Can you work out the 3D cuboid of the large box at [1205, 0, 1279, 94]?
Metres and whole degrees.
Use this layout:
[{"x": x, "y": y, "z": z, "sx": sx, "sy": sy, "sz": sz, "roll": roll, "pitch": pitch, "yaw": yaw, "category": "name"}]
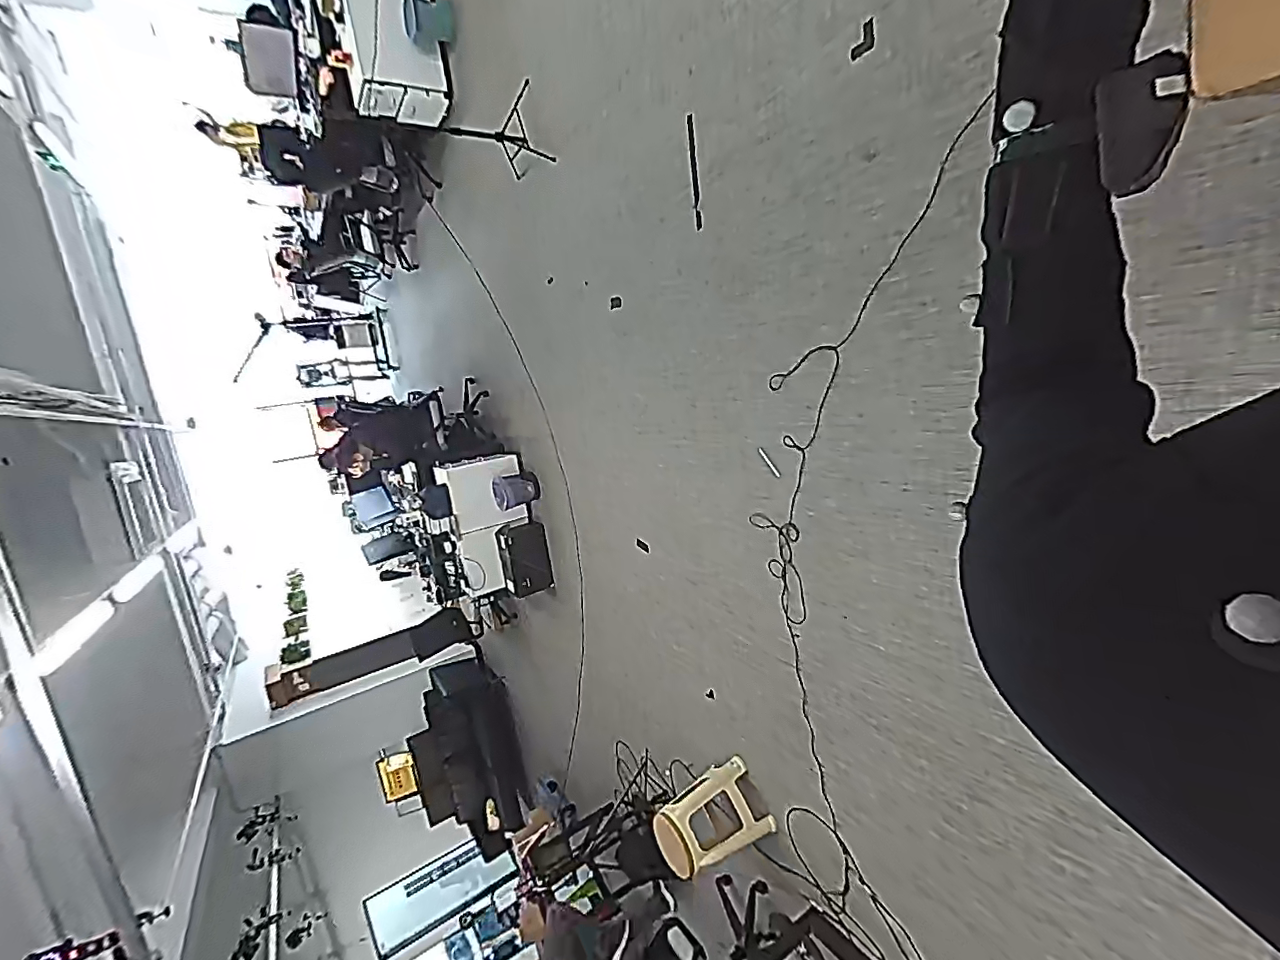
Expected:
[{"x": 0.485, "y": -0.387, "z": 0.160, "sx": 0.408, "sy": 0.320, "sz": 0.320, "roll": 7, "pitch": 118, "yaw": 57, "category": "large box"}]
